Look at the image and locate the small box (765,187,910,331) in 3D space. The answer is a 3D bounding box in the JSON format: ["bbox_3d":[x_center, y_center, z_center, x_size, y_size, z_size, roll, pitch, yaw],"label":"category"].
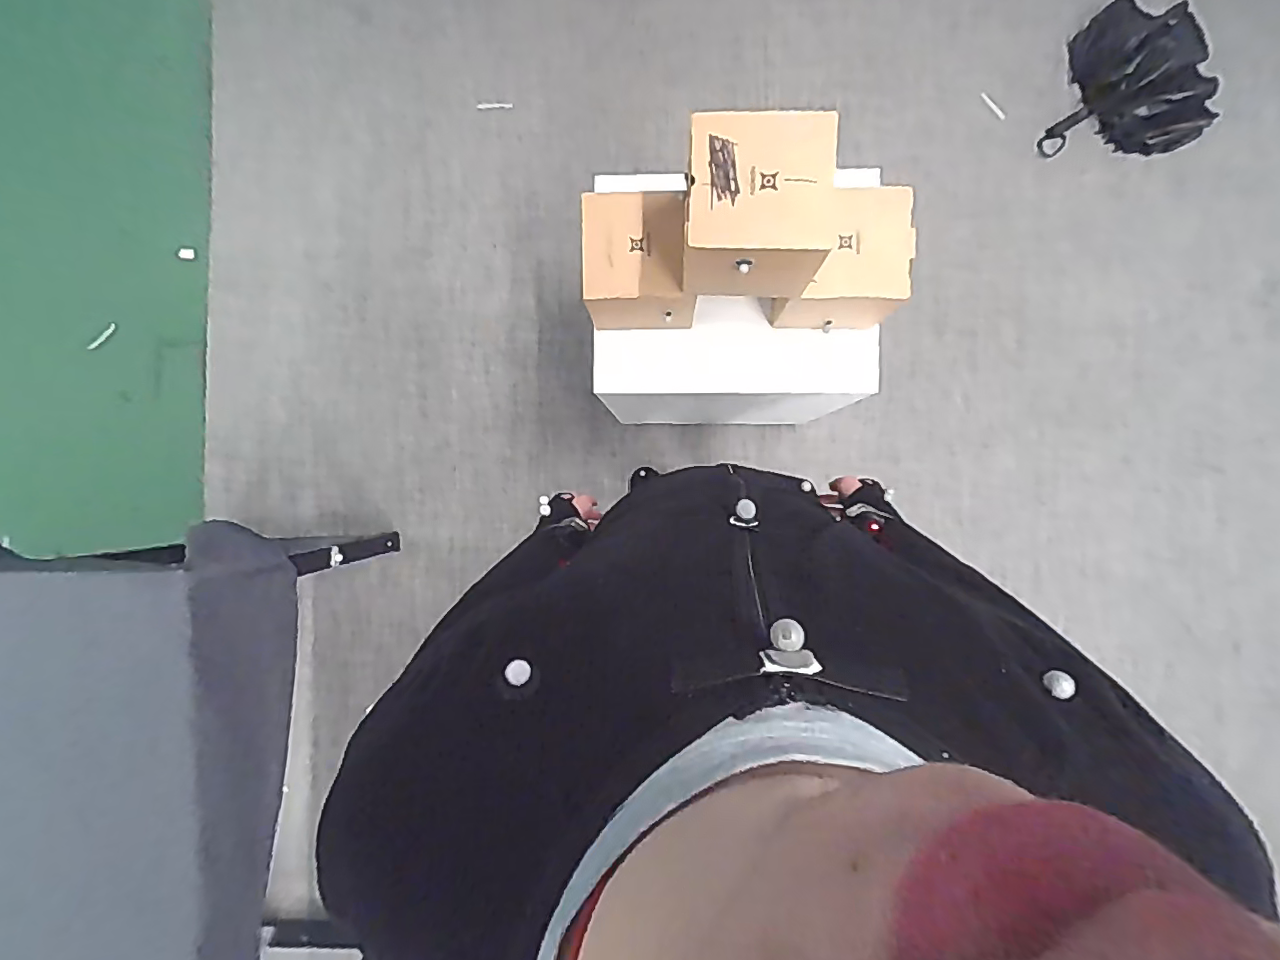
[{"bbox_3d":[0.307,-0.345,0.868,0.179,0.176,0.168,0,90,2],"label":"small box"}]

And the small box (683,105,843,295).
[{"bbox_3d":[0.148,-0.351,0.706,0.179,0.176,0.168,1,90,1],"label":"small box"}]

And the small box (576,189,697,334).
[{"bbox_3d":[-0.005,-0.342,0.872,0.179,0.176,0.168,-2,88,1],"label":"small box"}]
